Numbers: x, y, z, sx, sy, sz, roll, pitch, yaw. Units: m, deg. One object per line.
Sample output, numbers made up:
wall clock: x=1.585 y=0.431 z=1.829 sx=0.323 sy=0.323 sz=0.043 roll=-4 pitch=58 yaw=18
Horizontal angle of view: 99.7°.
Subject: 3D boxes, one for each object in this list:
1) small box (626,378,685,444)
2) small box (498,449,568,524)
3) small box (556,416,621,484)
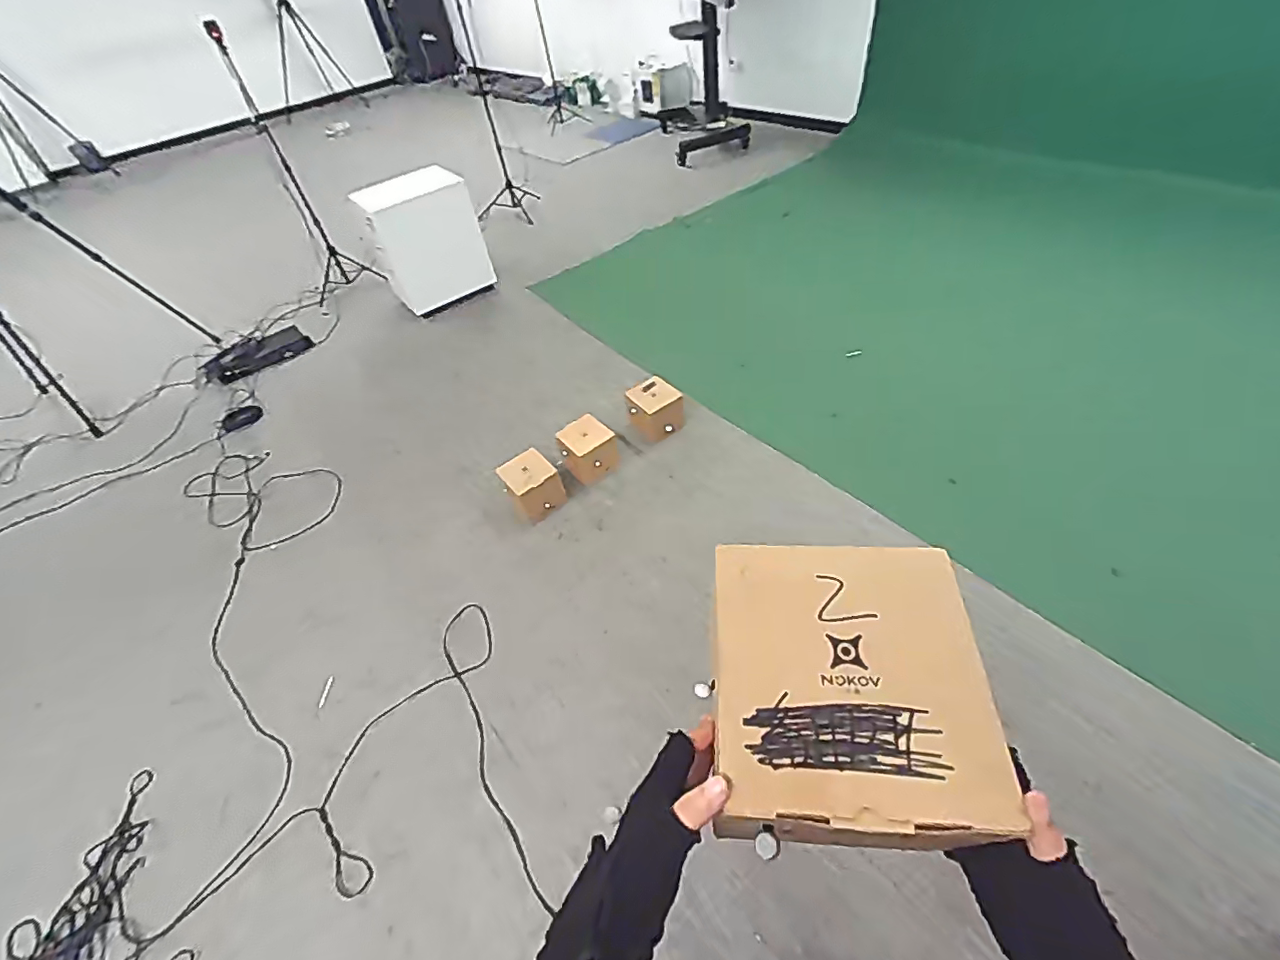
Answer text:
small box: x=0.063 y=-0.275 z=2.178 sx=0.168 sy=0.176 sz=0.179 roll=-32 pitch=51 yaw=-19
small box: x=-0.385 y=0.027 z=1.964 sx=0.168 sy=0.176 sz=0.179 roll=-34 pitch=52 yaw=-21
small box: x=-0.191 y=-0.107 z=2.063 sx=0.168 sy=0.176 sz=0.179 roll=-35 pitch=50 yaw=-22
